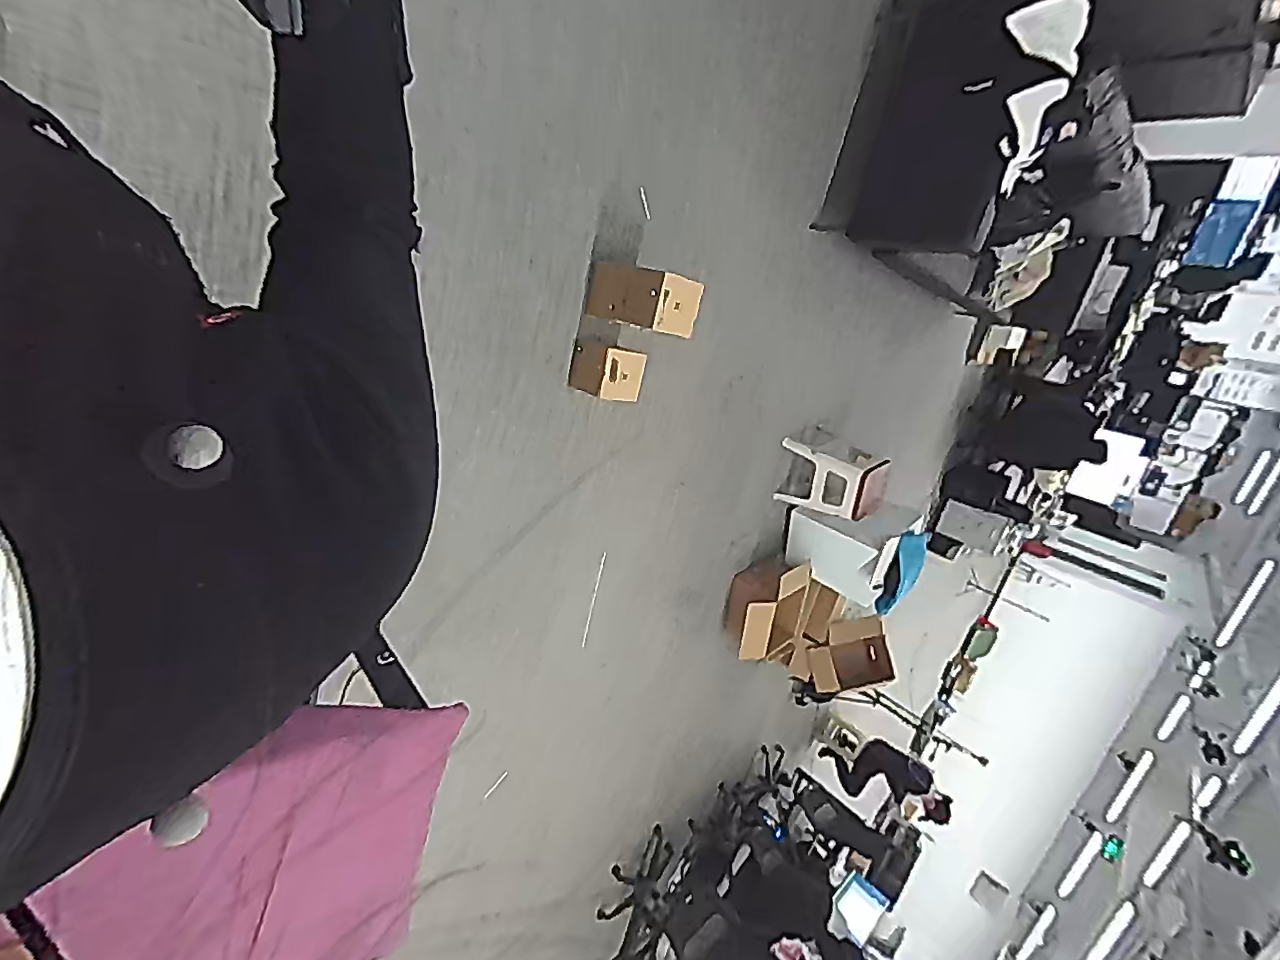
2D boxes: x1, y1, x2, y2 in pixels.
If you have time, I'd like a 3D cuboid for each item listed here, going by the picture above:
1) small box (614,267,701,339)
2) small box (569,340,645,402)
[{"bbox_3d":[0.052,-0.542,1.653,0.179,0.176,0.168,-2,113,-46],"label":"small box"},{"bbox_3d":[-0.116,-0.370,1.823,0.179,0.176,0.168,-4,114,-45],"label":"small box"}]
